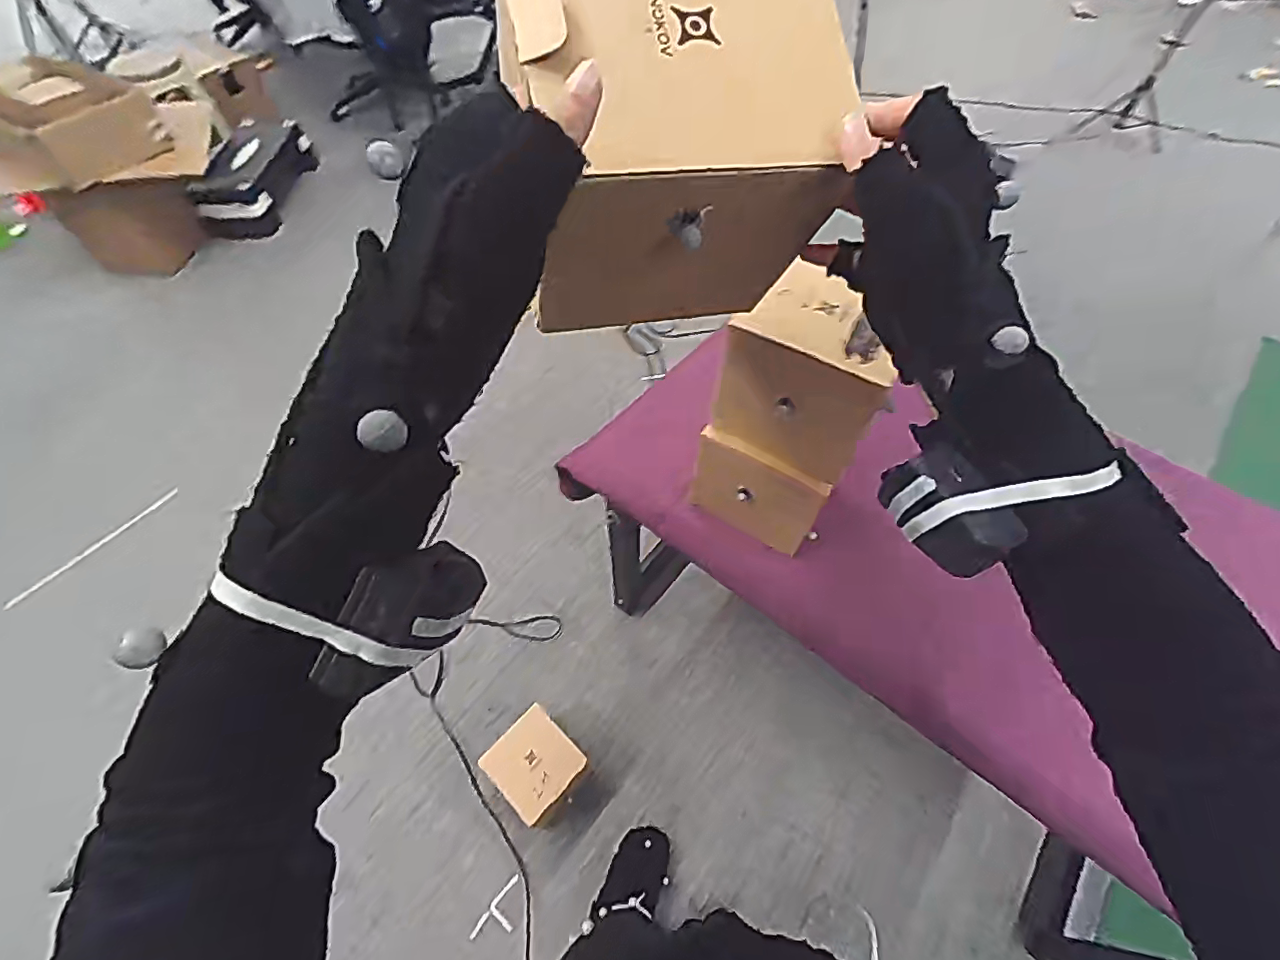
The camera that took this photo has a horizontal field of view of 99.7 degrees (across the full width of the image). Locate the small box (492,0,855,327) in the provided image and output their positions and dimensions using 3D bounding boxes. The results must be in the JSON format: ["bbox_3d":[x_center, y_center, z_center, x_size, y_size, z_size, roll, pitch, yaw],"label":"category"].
[{"bbox_3d":[0.003,-0.215,0.354,0.179,0.176,0.168,-10,84,-12],"label":"small box"}]

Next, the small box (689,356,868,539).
[{"bbox_3d":[0.189,-0.038,0.781,0.179,0.176,0.168,30,61,17],"label":"small box"}]
